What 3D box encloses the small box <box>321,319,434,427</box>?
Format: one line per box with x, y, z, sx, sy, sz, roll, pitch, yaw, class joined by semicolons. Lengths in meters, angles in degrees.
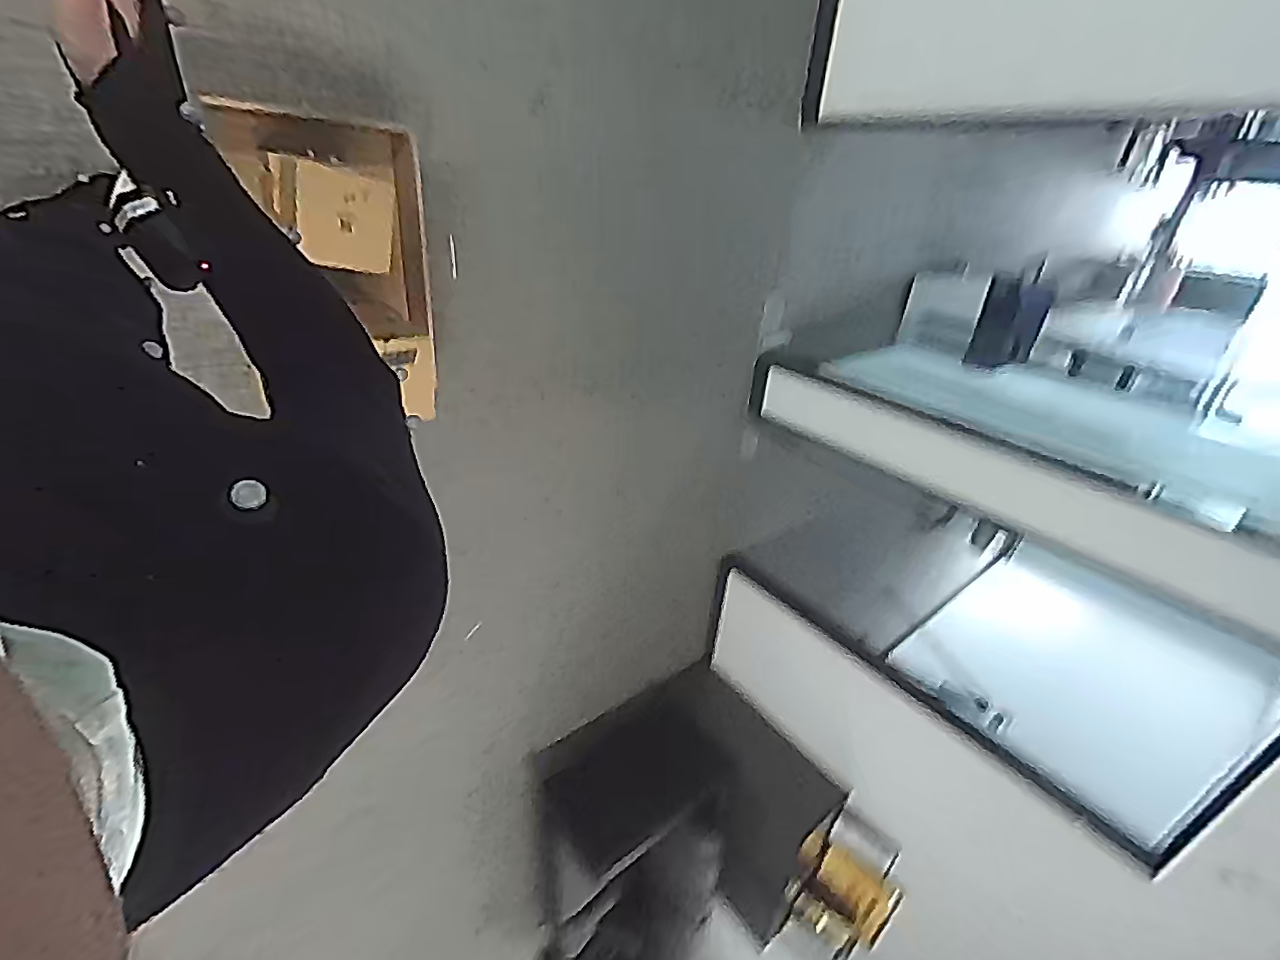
-0.535;-0.227;1.102;0.168;0.176;0.179;-14;125;-36;small box
